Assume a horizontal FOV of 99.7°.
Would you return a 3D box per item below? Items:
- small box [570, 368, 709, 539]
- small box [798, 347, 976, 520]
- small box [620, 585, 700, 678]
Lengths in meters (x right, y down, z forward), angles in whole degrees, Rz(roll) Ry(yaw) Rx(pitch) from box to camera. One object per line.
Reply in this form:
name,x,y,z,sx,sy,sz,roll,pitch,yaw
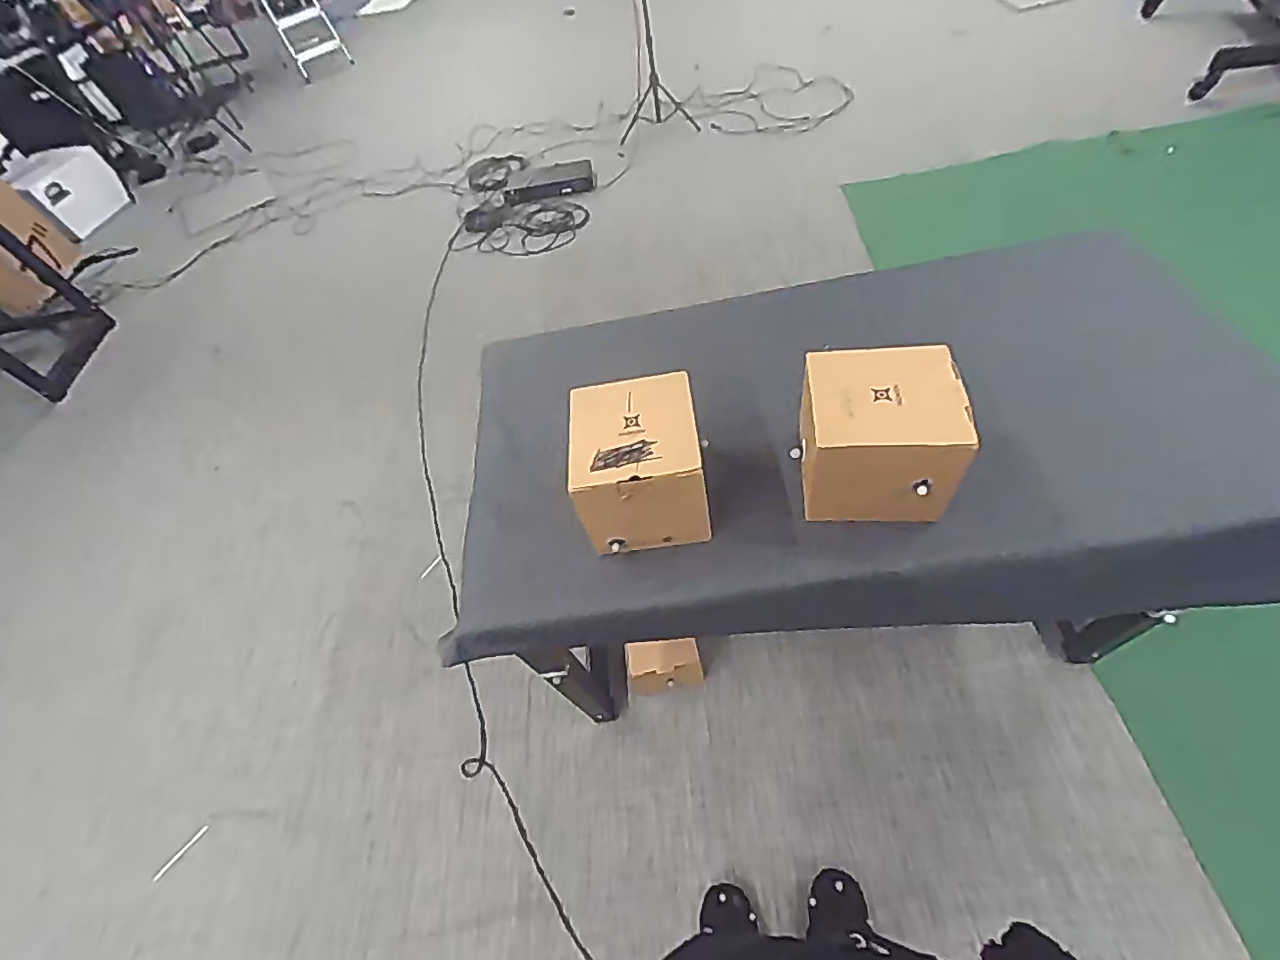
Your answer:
small box,0.004,-0.028,0.763,0.168,0.176,0.179,-7,54,6
small box,0.314,-0.057,0.728,0.179,0.176,0.168,-1,55,12
small box,0.054,0.390,1.365,0.168,0.176,0.179,-12,56,2
